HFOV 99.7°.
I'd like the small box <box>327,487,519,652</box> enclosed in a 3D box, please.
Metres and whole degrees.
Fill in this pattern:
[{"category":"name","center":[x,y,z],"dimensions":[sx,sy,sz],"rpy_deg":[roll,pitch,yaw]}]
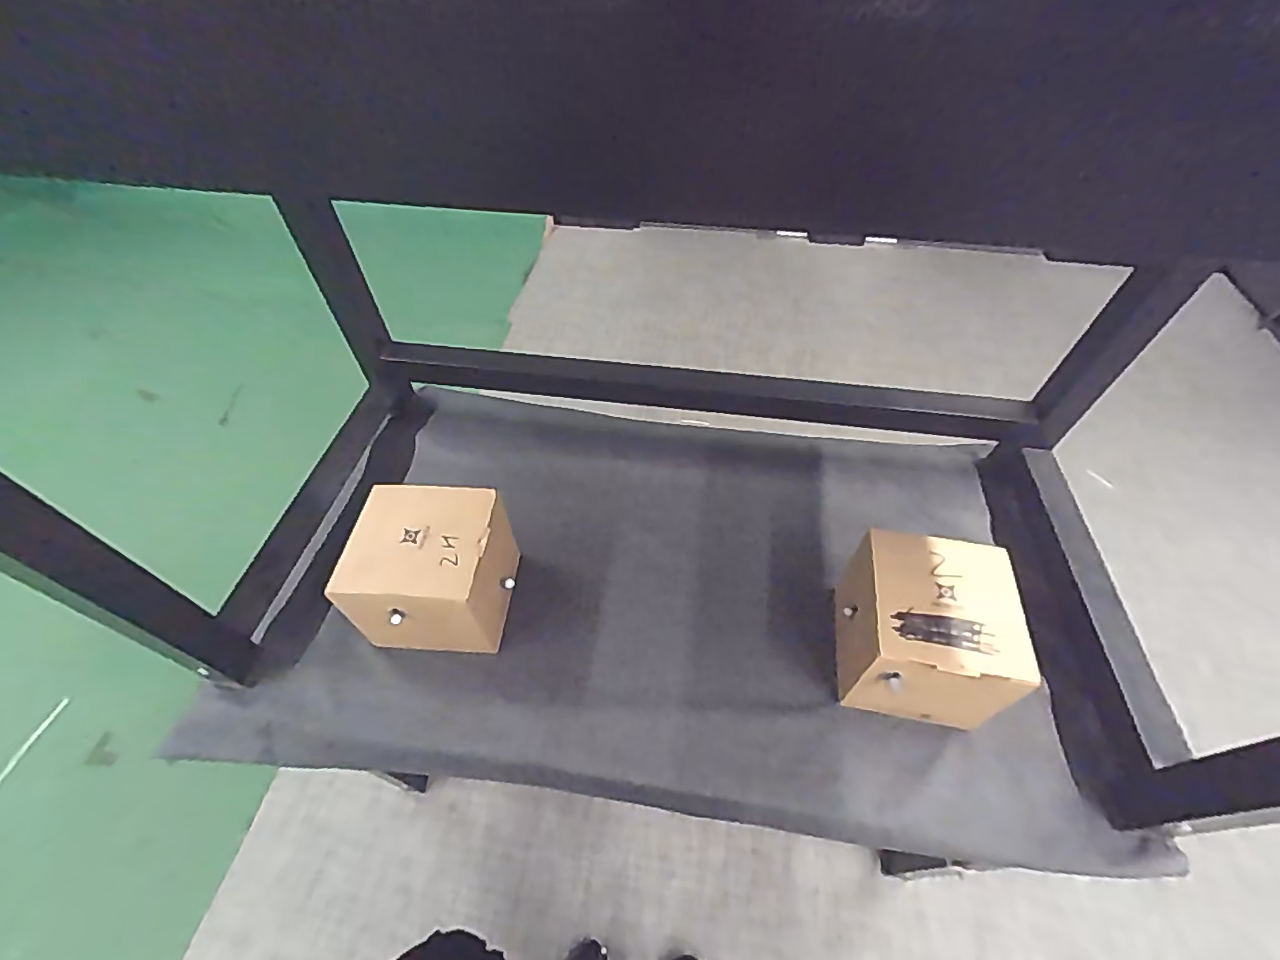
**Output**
[{"category":"small box","center":[-0.283,0.127,0.751],"dimensions":[0.179,0.176,0.168],"rpy_deg":[3,52,2]}]
